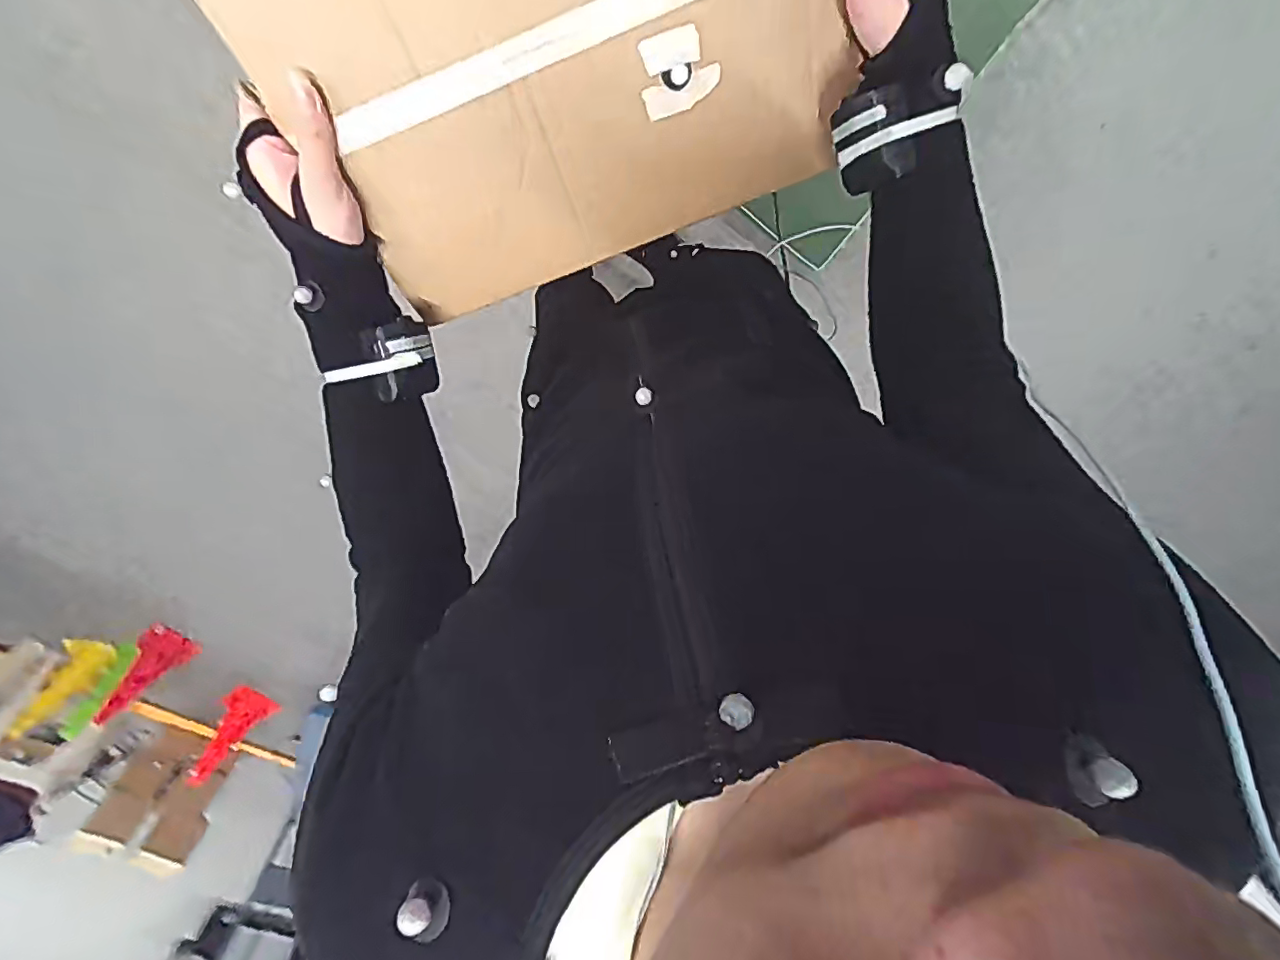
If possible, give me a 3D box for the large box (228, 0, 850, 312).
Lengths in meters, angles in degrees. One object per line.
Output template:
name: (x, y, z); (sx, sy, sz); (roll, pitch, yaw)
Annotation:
large box: (-0.078, -0.419, 0.479); (0.408, 0.320, 0.320); (-20, 137, 4)
